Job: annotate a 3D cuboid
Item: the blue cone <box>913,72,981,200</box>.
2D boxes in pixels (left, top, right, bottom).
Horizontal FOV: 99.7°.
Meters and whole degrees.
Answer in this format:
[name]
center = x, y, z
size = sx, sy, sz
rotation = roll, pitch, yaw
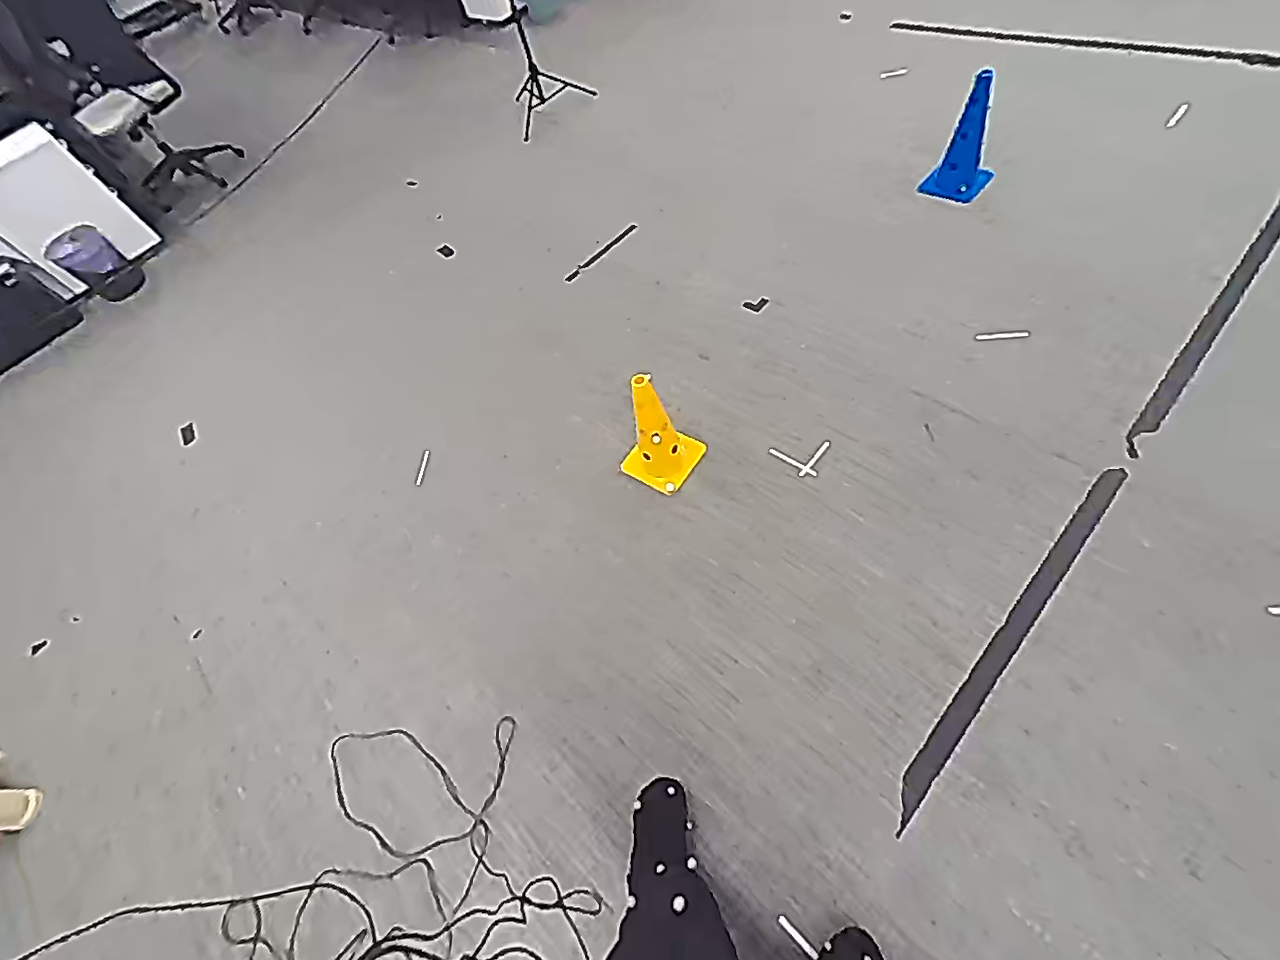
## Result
[blue cone]
center = 1.104, -1.188, 1.867
size = 0.192, 0.380, 0.193
rotation = 35, 72, 30
